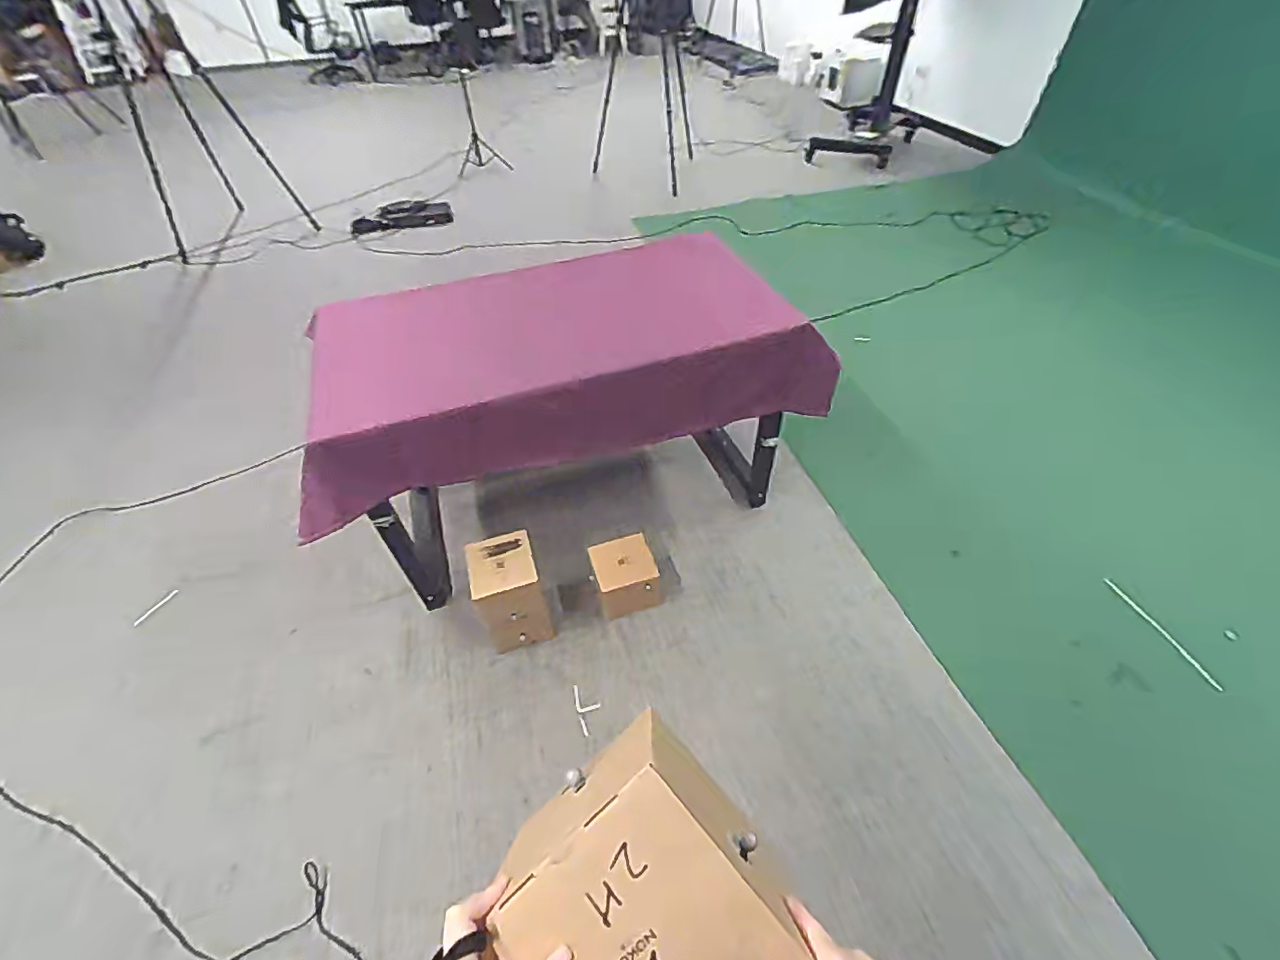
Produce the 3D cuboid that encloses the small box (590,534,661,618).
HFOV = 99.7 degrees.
[{"bbox_3d":[-0.040,0.298,1.651,0.179,0.176,0.168,-15,49,-11],"label":"small box"}]
